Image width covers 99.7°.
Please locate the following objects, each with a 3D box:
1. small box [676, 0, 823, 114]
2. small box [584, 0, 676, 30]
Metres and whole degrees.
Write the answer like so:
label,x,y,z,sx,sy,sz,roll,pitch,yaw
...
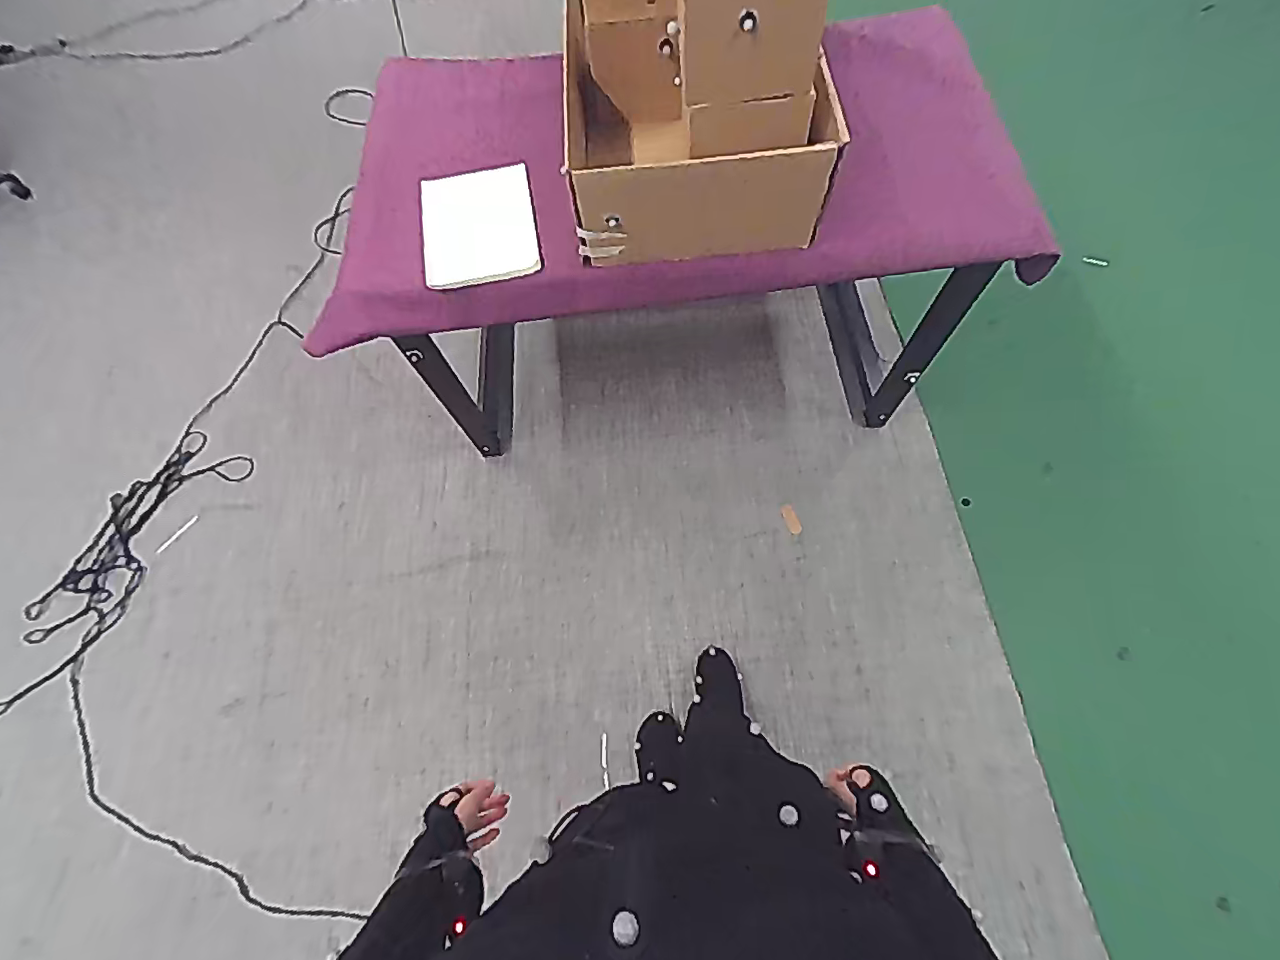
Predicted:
label,x,y,z,sx,sy,sz,roll,pitch,yaw
small box,0.136,-0.621,0.710,0.179,0.176,0.168,-4,65,5
small box,-0.009,-0.817,0.812,0.168,0.176,0.179,-3,68,3
